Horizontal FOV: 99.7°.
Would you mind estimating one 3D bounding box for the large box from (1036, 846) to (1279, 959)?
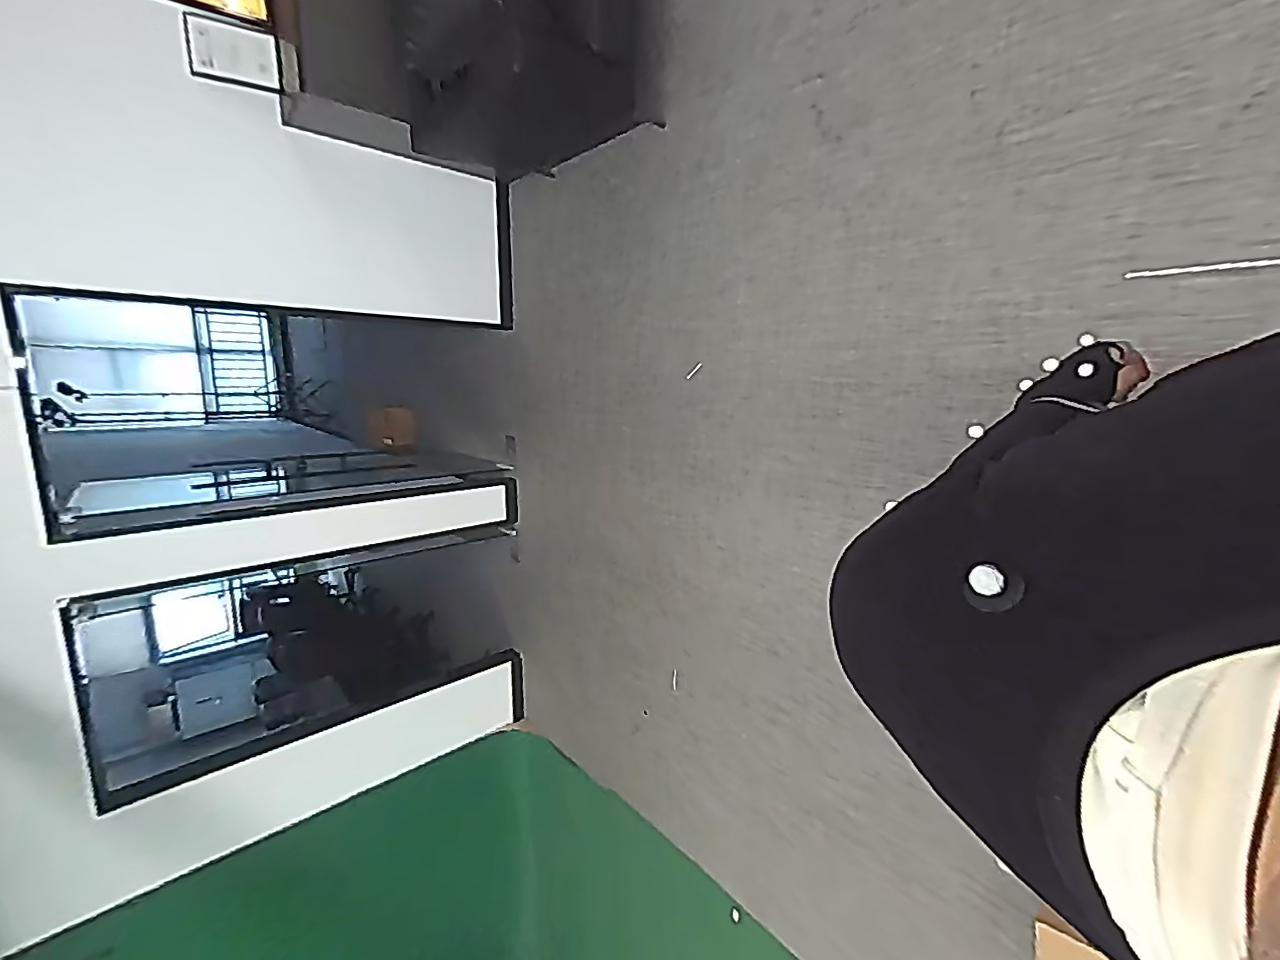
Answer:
[{"bbox_3d":[1.165,1.126,1.195,0.408,0.320,0.320,1,96,49],"label":"large box"}]
